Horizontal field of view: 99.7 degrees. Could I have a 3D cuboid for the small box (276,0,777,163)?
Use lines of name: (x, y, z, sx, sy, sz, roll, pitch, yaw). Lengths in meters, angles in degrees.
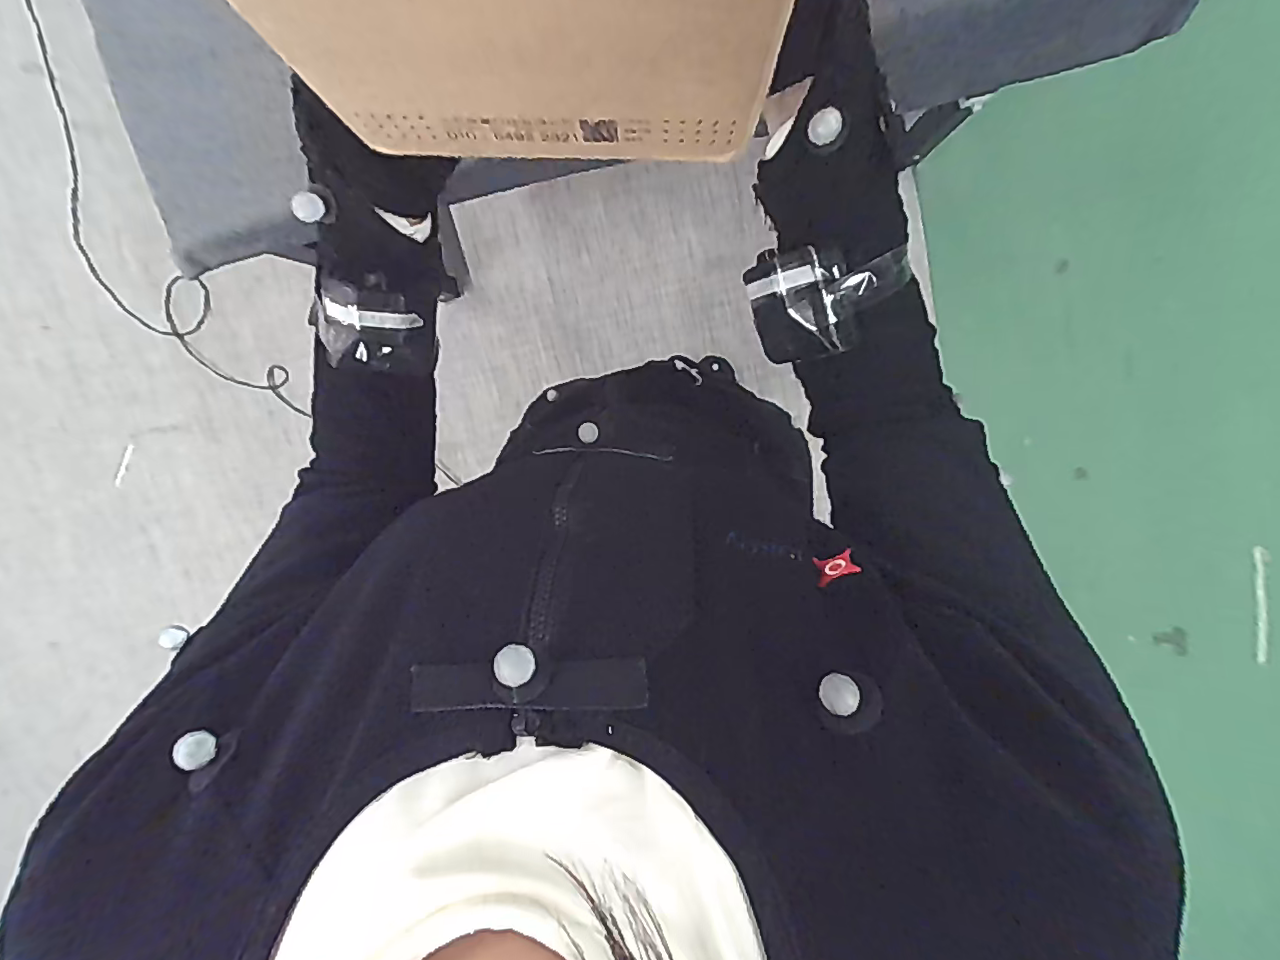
small box: (-0.037, -0.228, 0.156, 0.168, 0.176, 0.179, 2, 92, 2)
